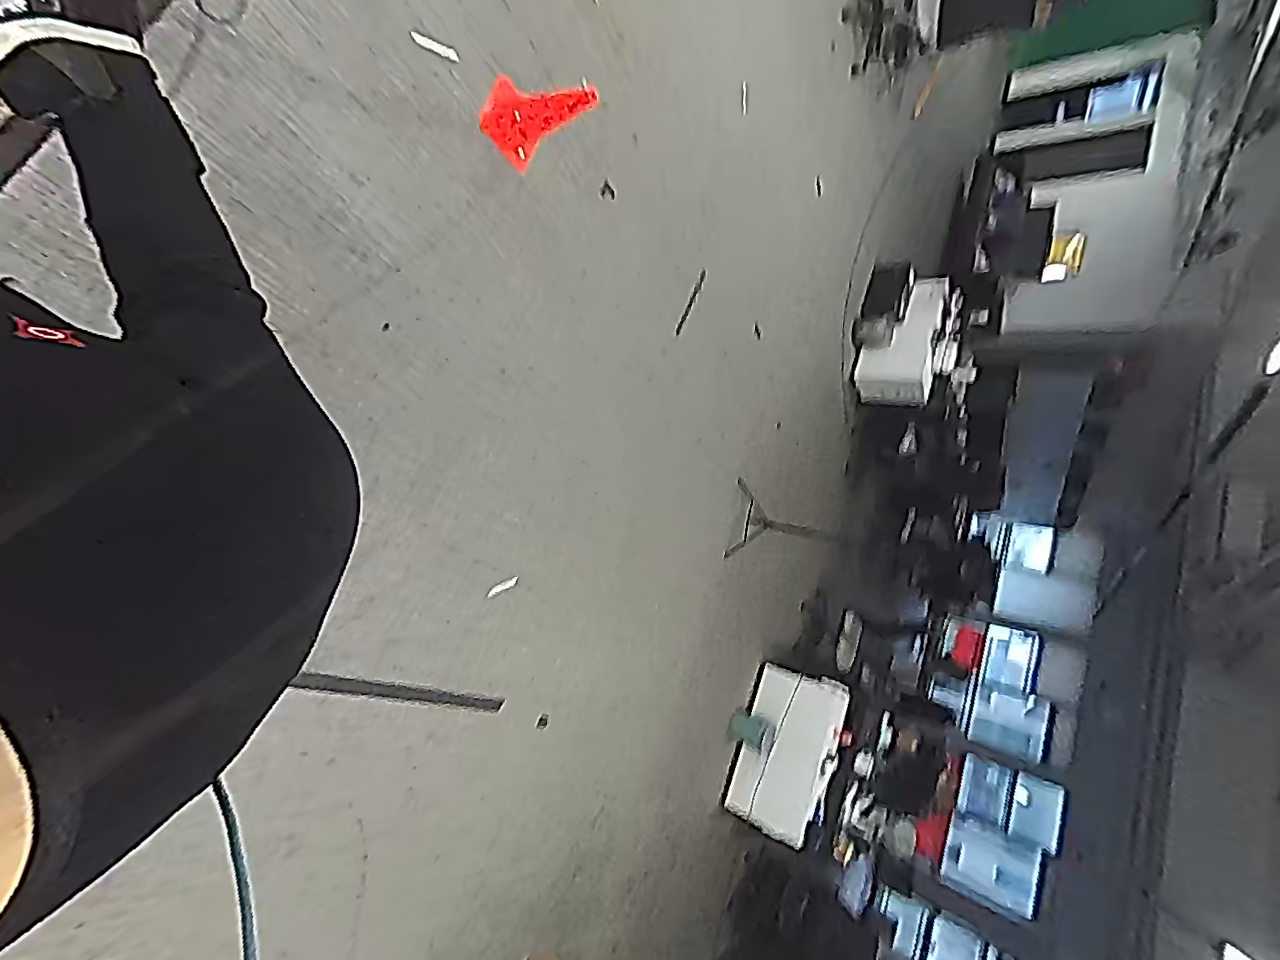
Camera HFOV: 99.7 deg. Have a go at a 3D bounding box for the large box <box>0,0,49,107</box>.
[{"bbox_3d":[-0.620,-0.379,0.233,0.408,0.320,0.320,-28,129,-42],"label":"large box"}]

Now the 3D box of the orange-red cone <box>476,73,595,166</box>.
[{"bbox_3d":[-0.281,-1.114,1.611,0.198,0.360,0.199,37,68,-52],"label":"orange-red cone"}]
